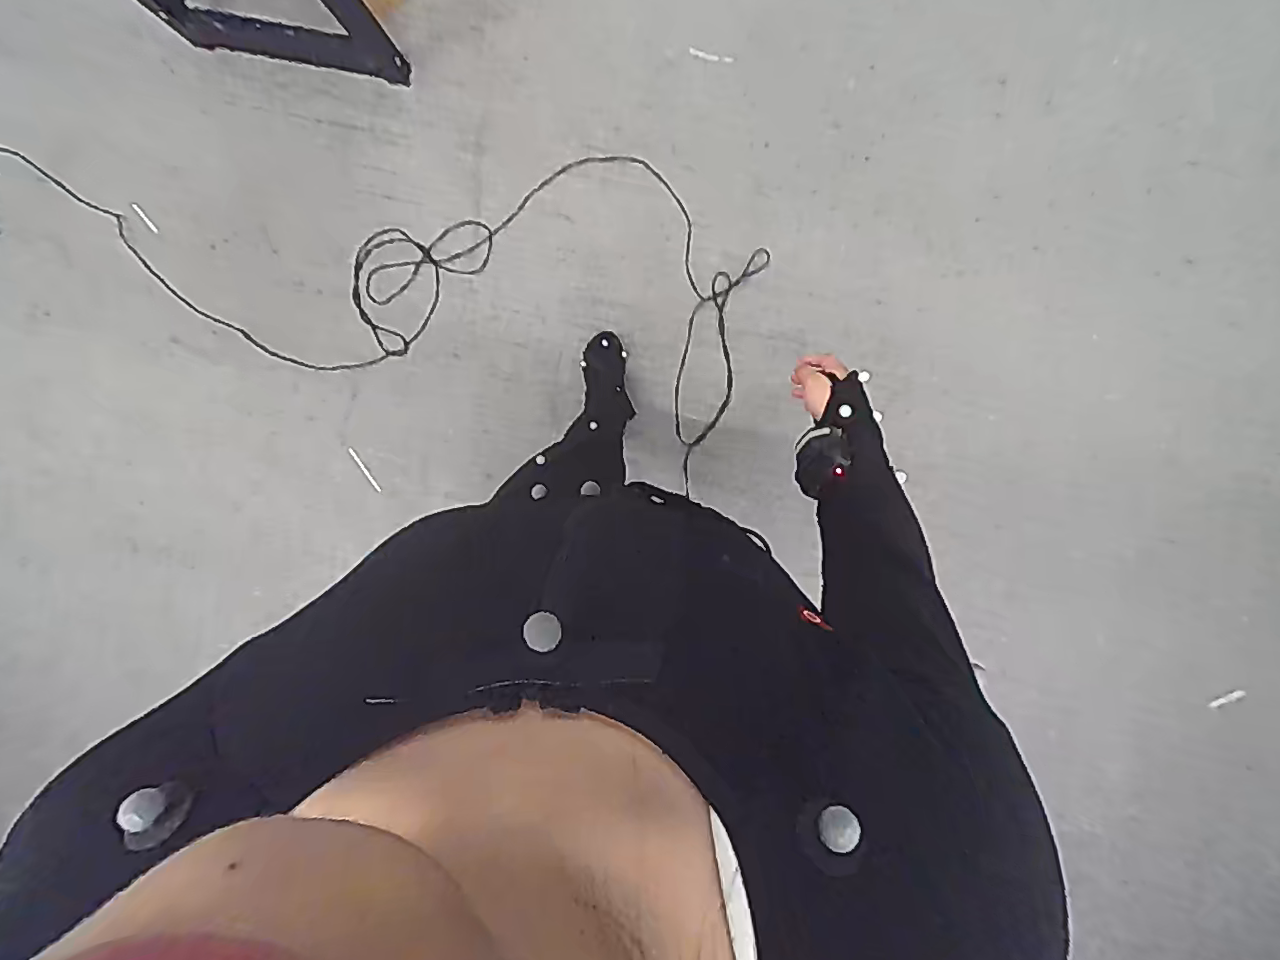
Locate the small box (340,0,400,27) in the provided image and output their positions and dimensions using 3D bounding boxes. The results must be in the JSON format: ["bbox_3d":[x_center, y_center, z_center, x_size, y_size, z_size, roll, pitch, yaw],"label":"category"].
[{"bbox_3d":[-0.679,-1.231,1.274,0.168,0.176,0.179,-44,92,6],"label":"small box"}]
